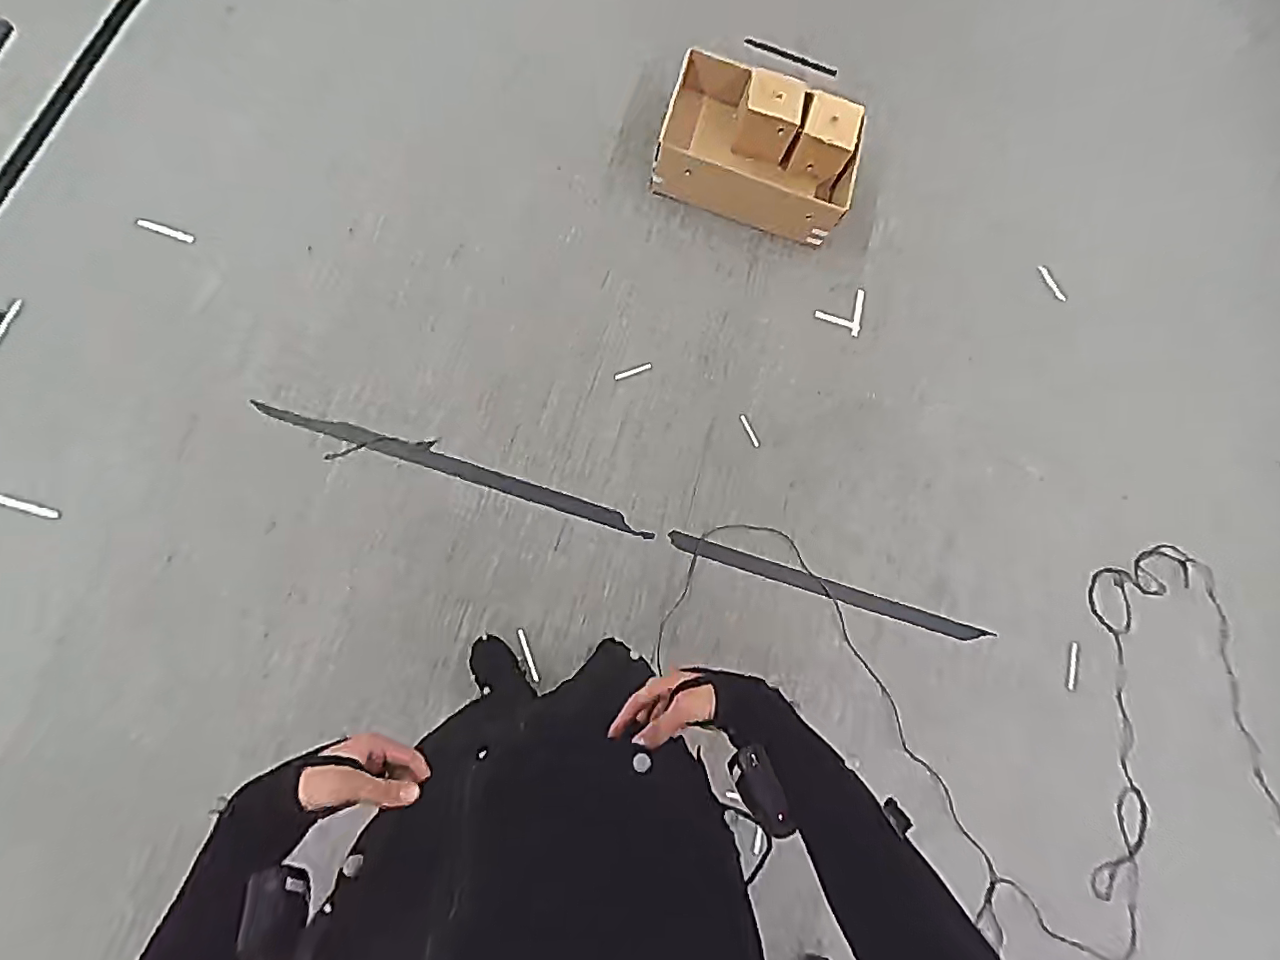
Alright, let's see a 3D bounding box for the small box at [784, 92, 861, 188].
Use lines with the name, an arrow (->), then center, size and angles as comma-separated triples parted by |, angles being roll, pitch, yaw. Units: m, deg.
small box -> 0.588, -1.100, 1.761 | 0.168, 0.176, 0.179 | 17, 79, -4
